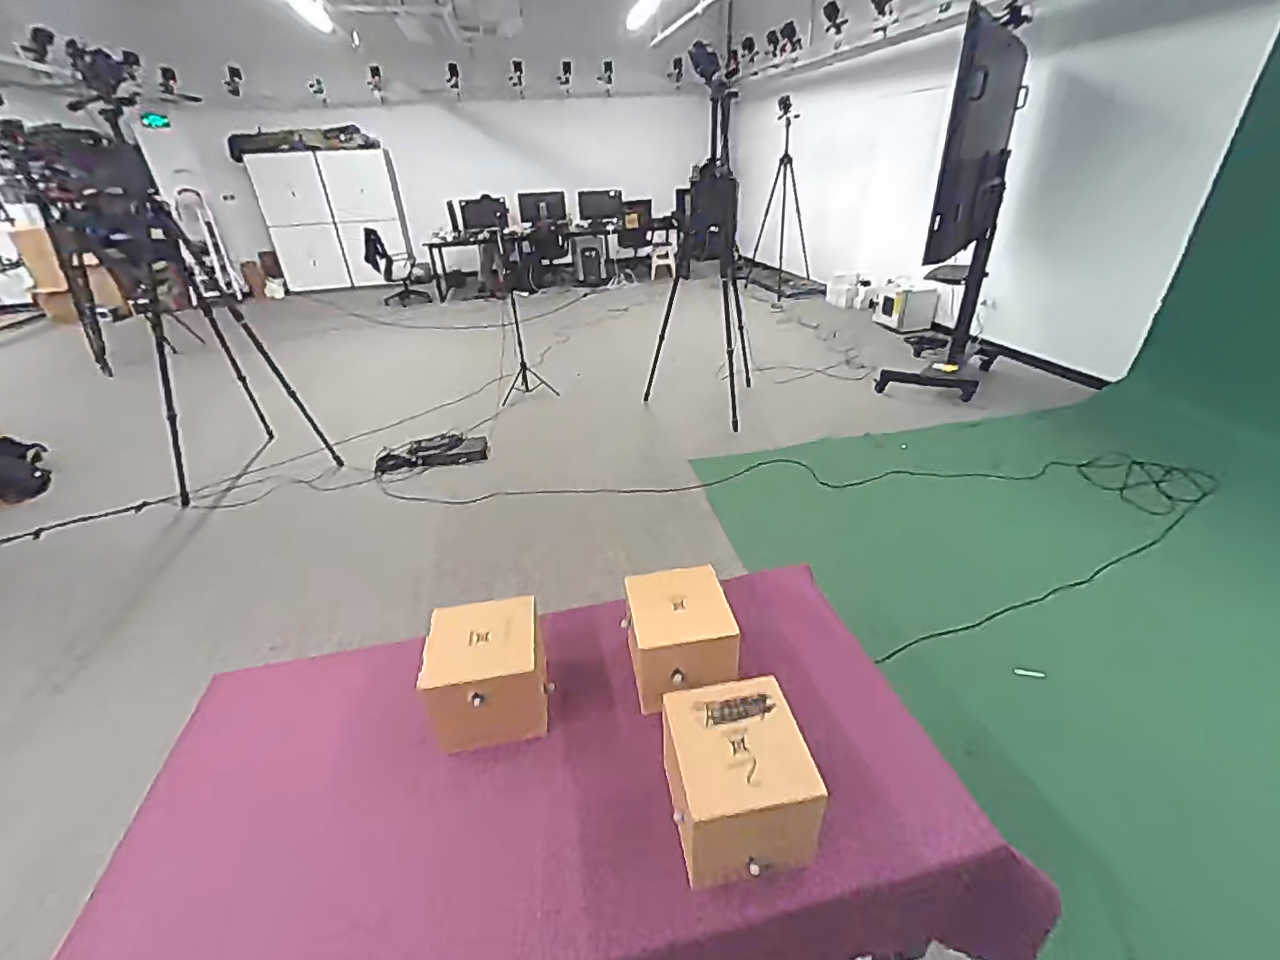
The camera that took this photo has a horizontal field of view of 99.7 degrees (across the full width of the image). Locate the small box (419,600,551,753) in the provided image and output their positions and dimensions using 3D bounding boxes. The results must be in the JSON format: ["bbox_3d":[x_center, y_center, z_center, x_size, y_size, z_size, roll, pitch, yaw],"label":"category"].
[{"bbox_3d":[-0.249,0.332,0.914,0.179,0.176,0.168,-7,31,-6],"label":"small box"}]

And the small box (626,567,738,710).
[{"bbox_3d":[0.072,0.283,0.957,0.168,0.176,0.179,-8,30,-6],"label":"small box"}]
